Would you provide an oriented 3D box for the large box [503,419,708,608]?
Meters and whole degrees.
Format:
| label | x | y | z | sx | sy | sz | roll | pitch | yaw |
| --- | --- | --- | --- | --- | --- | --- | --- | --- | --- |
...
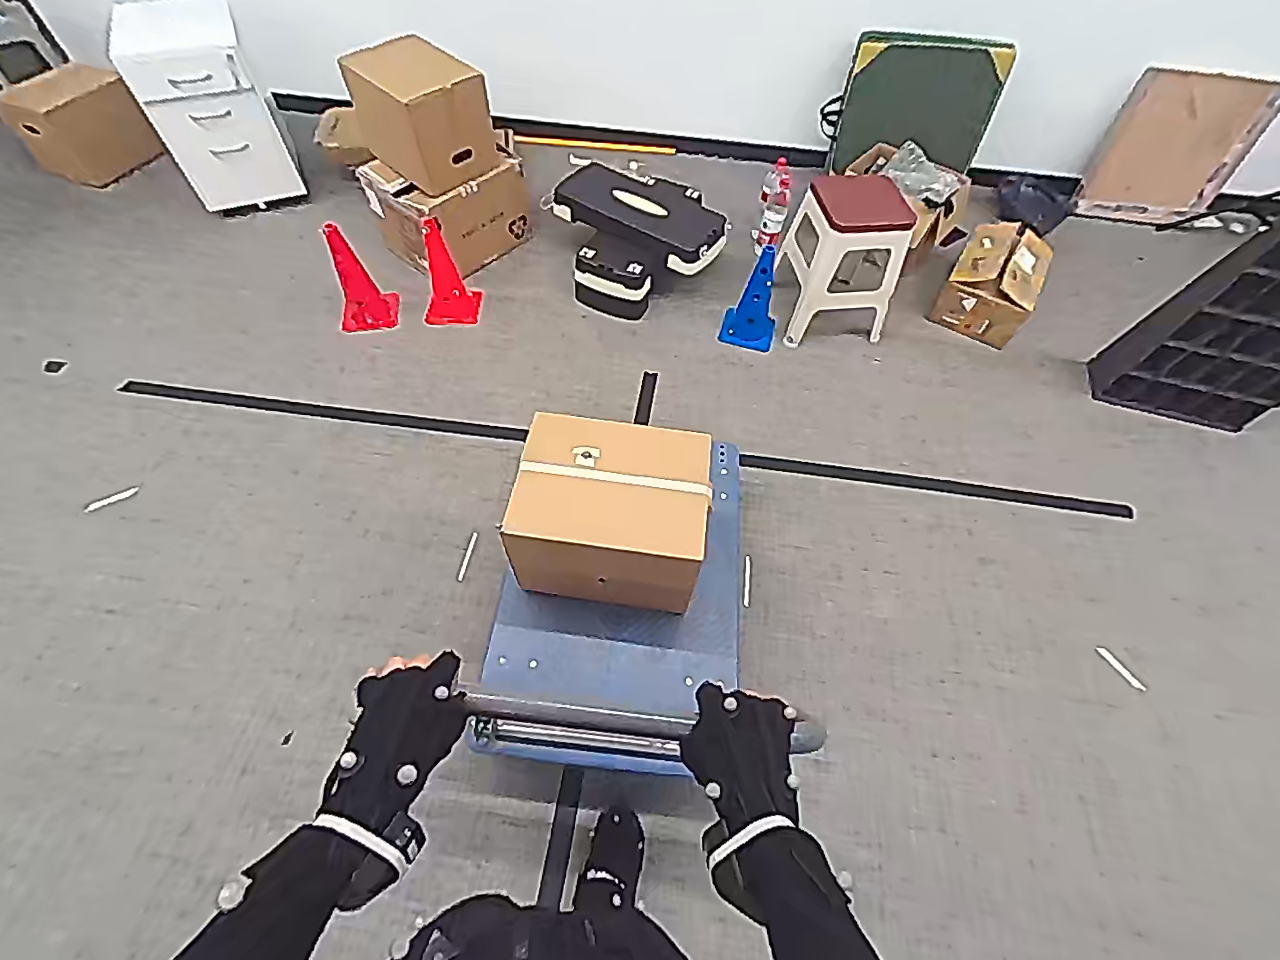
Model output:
| label | x | y | z | sx | sy | sz | roll | pitch | yaw |
| --- | --- | --- | --- | --- | --- | --- | --- | --- | --- |
| large box | -0.062 | 0.089 | 1.276 | 0.408 | 0.320 | 0.320 | 8 | 57 | 3 |
